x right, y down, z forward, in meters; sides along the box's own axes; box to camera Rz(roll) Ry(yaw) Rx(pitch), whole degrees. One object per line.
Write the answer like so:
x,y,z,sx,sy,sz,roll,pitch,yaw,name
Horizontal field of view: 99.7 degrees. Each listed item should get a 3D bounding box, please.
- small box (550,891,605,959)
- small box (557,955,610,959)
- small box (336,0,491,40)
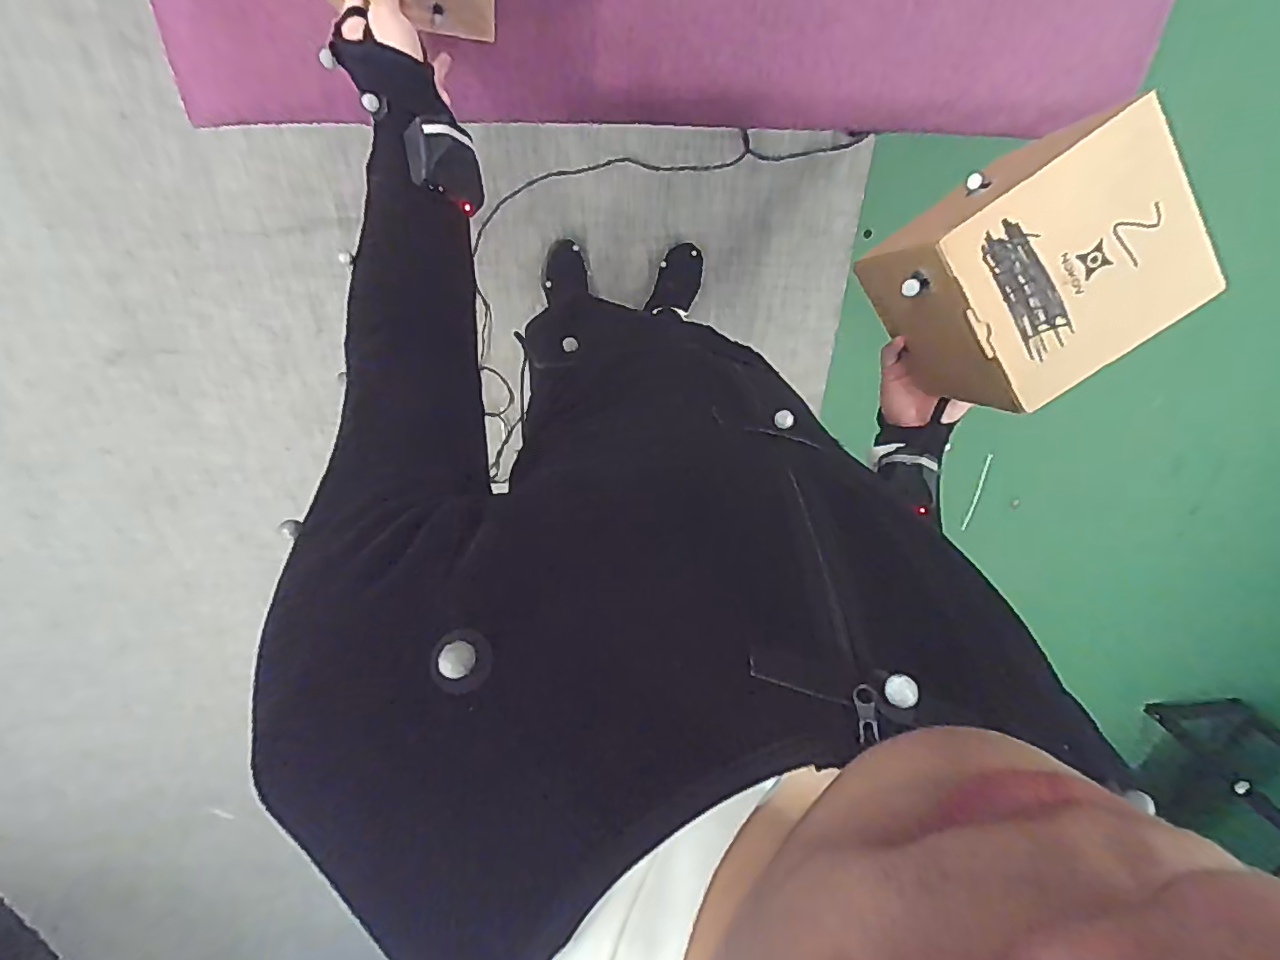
-0.196,1.433,1.695,0.168,0.176,0.179,-1,115,-7,small box
-0.172,1.509,1.551,0.168,0.176,0.179,8,113,-12,small box
-0.229,-0.550,0.501,0.168,0.176,0.179,4,113,-11,small box
